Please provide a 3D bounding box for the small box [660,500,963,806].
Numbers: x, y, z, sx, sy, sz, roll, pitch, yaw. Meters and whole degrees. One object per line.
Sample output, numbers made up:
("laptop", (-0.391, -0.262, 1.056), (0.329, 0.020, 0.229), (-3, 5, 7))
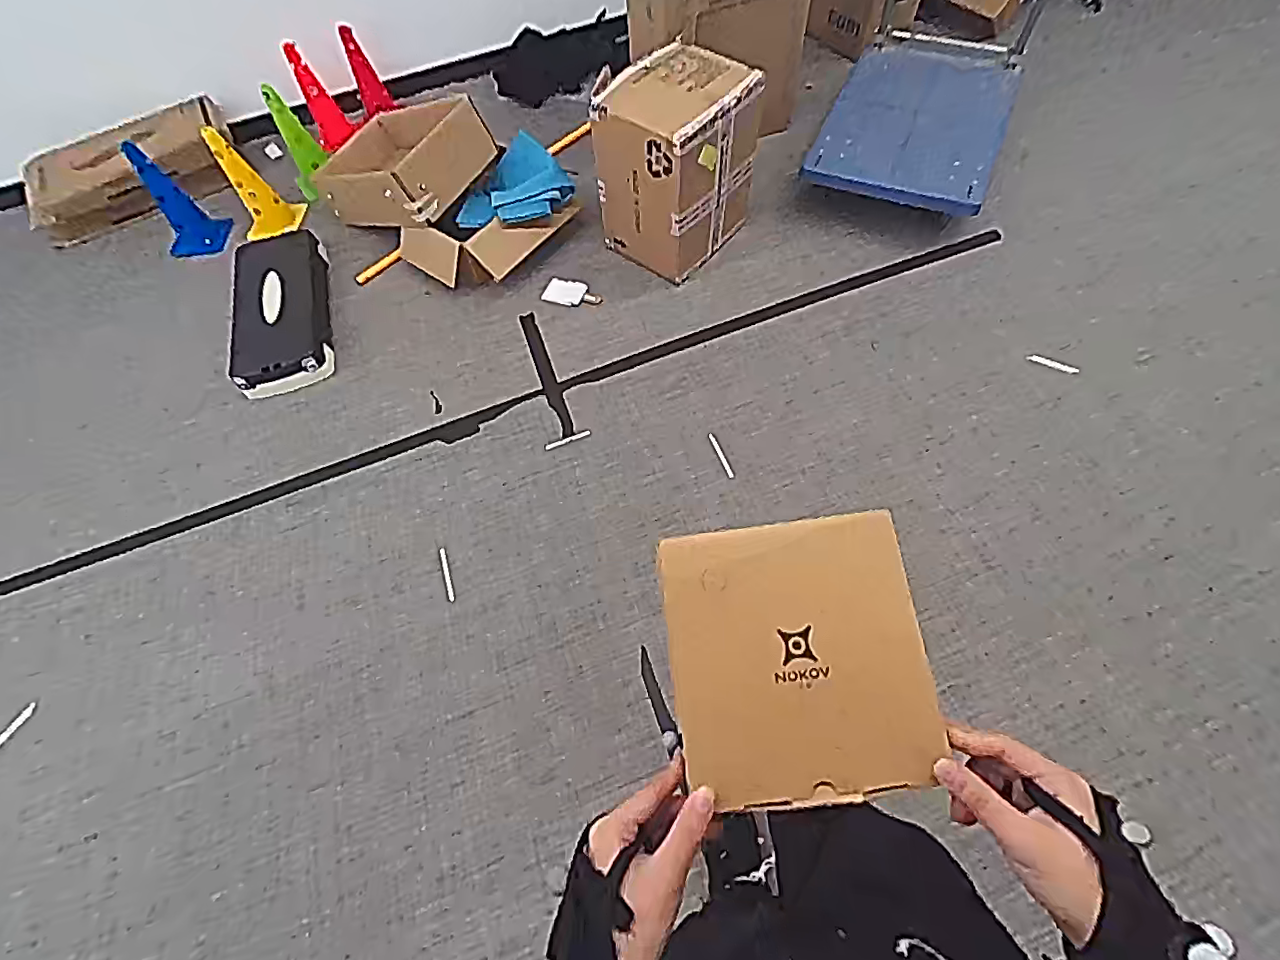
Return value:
("small box", (0.107, 0.127, 0.426), (0.168, 0.176, 0.179), (-8, 74, 0))
